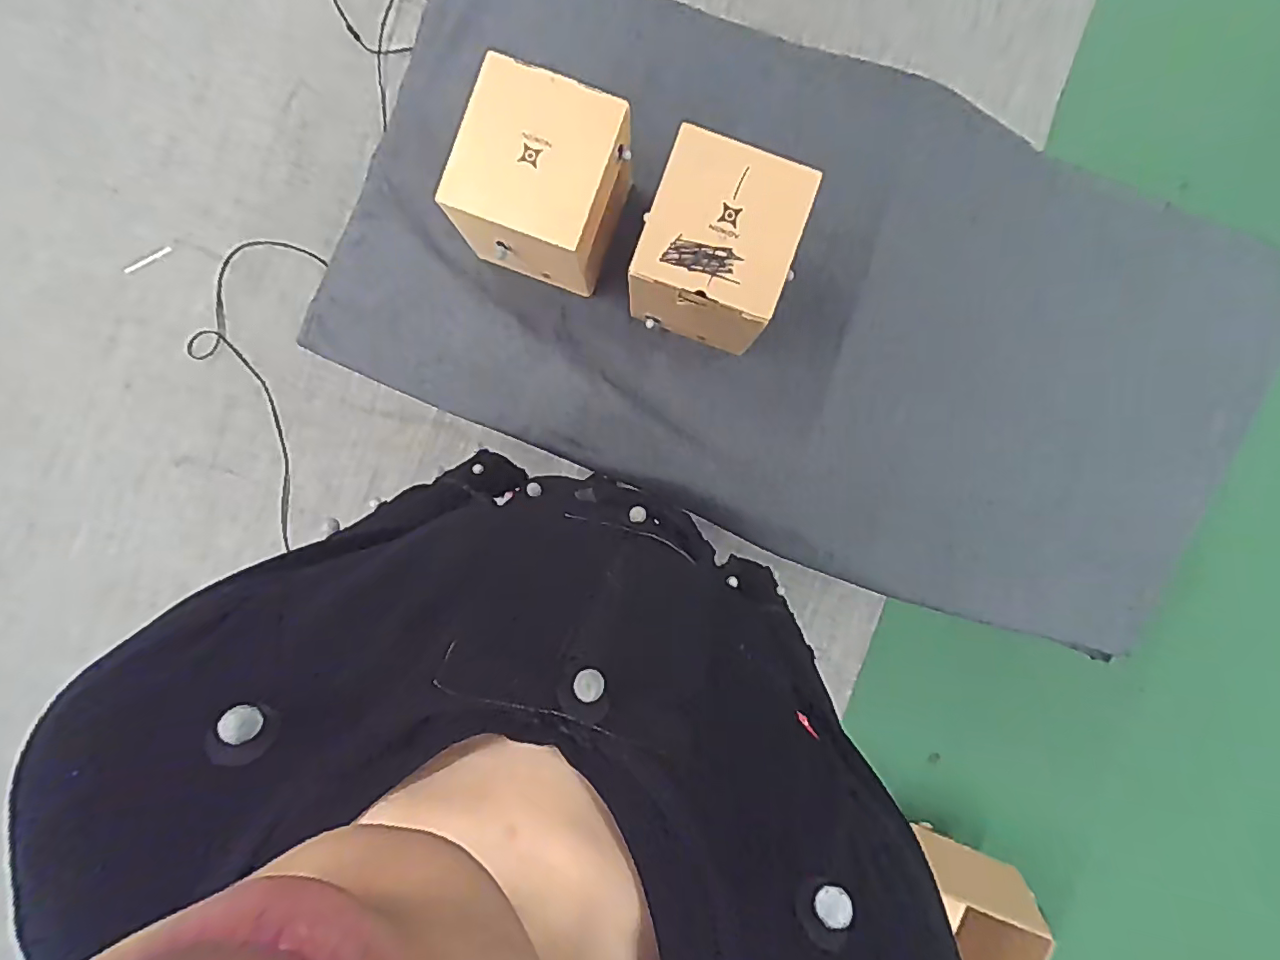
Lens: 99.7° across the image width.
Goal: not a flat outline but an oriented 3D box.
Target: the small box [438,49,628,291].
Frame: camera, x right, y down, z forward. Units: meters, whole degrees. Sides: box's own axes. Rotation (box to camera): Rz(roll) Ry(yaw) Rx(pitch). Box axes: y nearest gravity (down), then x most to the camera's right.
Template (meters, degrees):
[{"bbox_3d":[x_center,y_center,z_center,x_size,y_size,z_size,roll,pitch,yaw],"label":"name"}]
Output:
[{"bbox_3d":[-0.115,-0.359,0.663,0.168,0.176,0.179,20,91,0],"label":"small box"}]
